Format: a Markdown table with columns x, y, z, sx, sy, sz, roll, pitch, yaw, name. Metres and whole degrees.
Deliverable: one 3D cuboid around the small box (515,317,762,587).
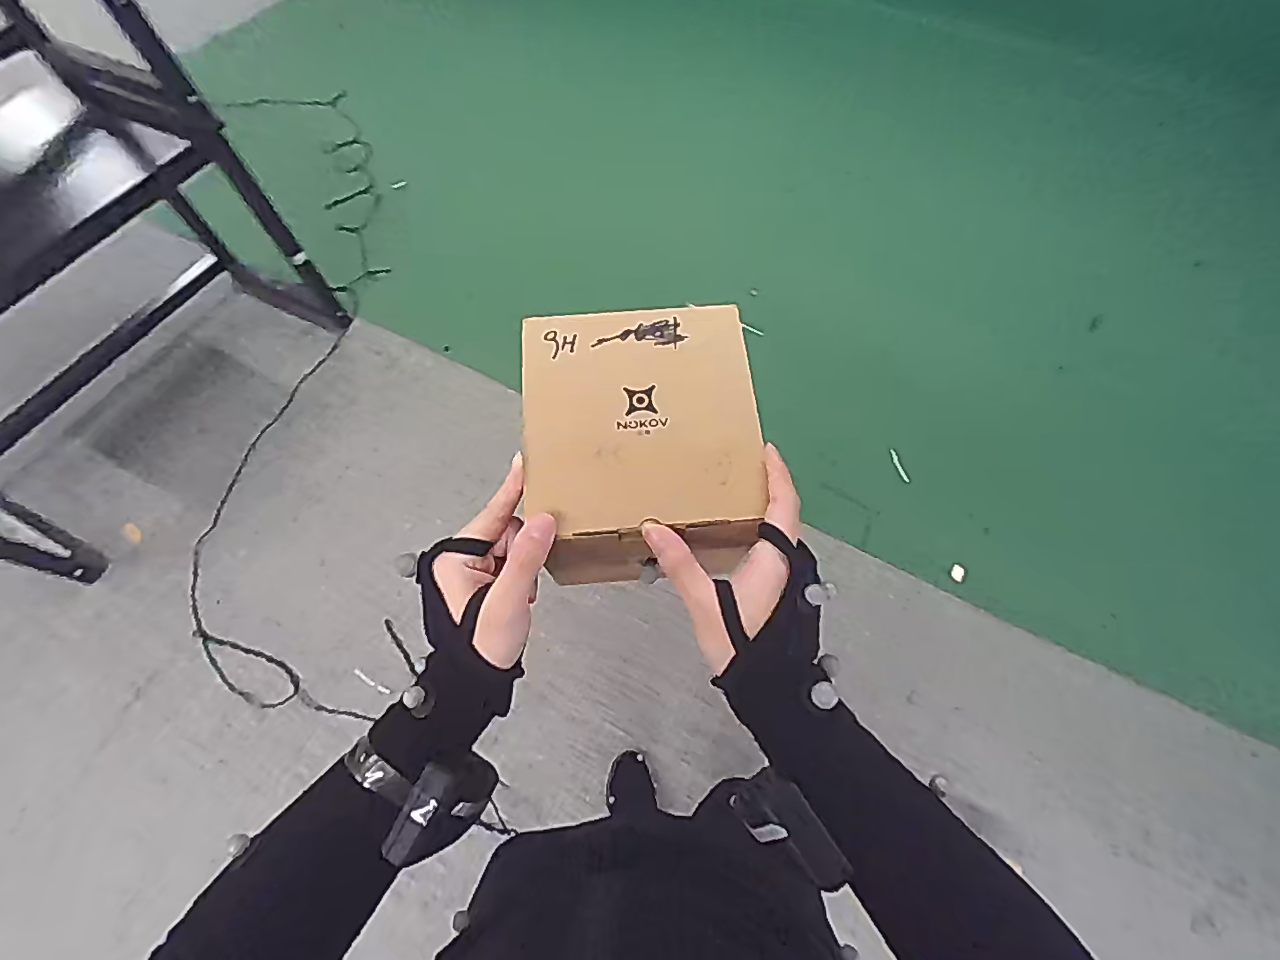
| x | y | z | sx | sy | sz | roll | pitch | yaw | name |
| --- | --- | --- | --- | --- | --- | --- | --- | --- | --- |
| -0.005 | -0.009 | 0.459 | 0.168 | 0.176 | 0.179 | -6 | 69 | -2 | small box |
